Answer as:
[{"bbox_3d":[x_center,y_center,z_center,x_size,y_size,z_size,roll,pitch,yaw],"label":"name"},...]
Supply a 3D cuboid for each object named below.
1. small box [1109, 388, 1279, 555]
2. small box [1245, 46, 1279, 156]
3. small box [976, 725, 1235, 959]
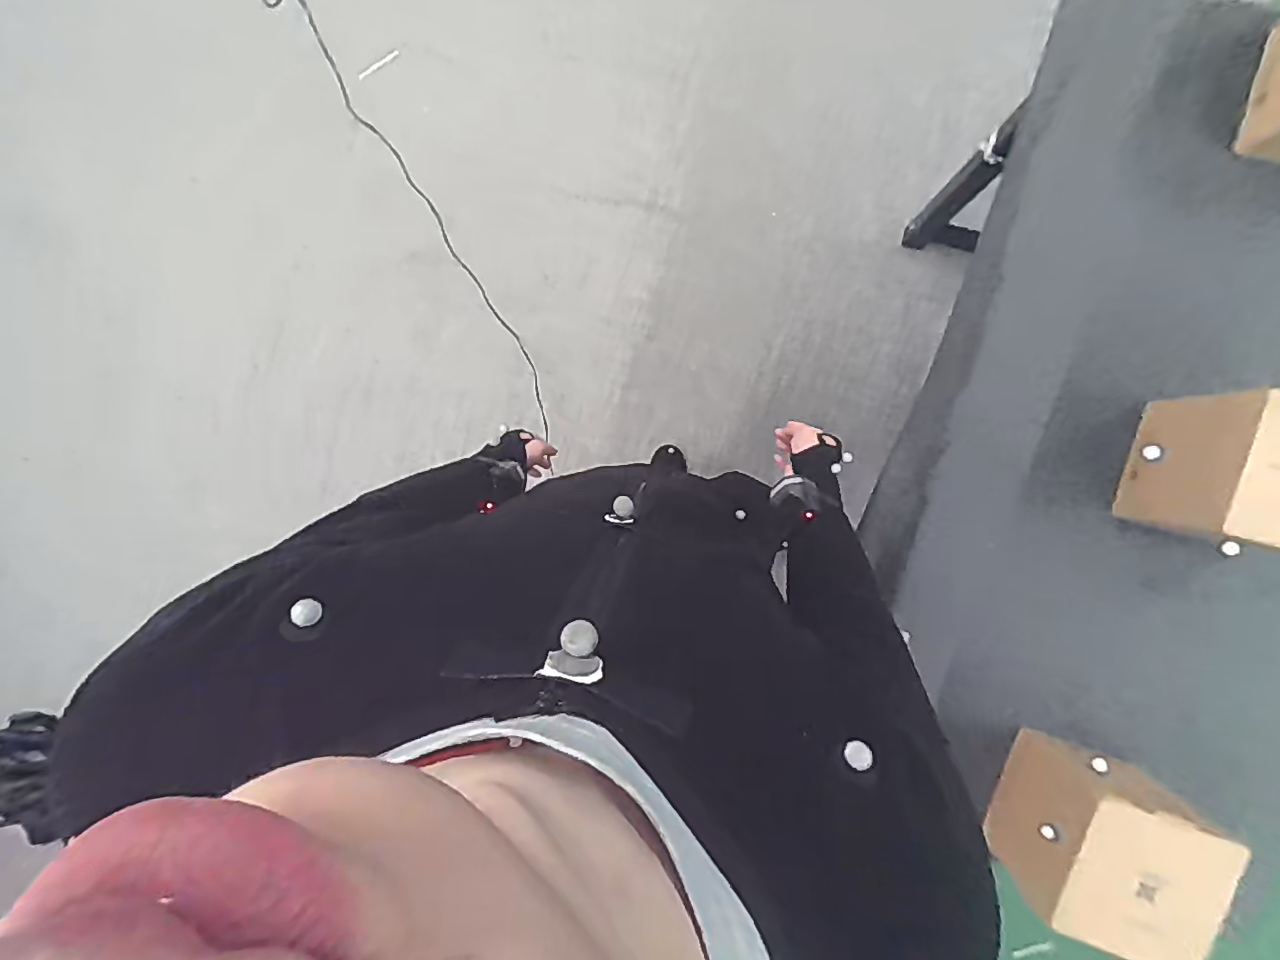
[{"bbox_3d":[0.745,-0.005,0.660,0.179,0.176,0.168,16,95,6],"label":"small box"},{"bbox_3d":[0.877,-0.486,0.616,0.179,0.176,0.168,14,96,6],"label":"small box"},{"bbox_3d":[0.582,0.458,0.707,0.168,0.176,0.179,19,96,6],"label":"small box"}]
